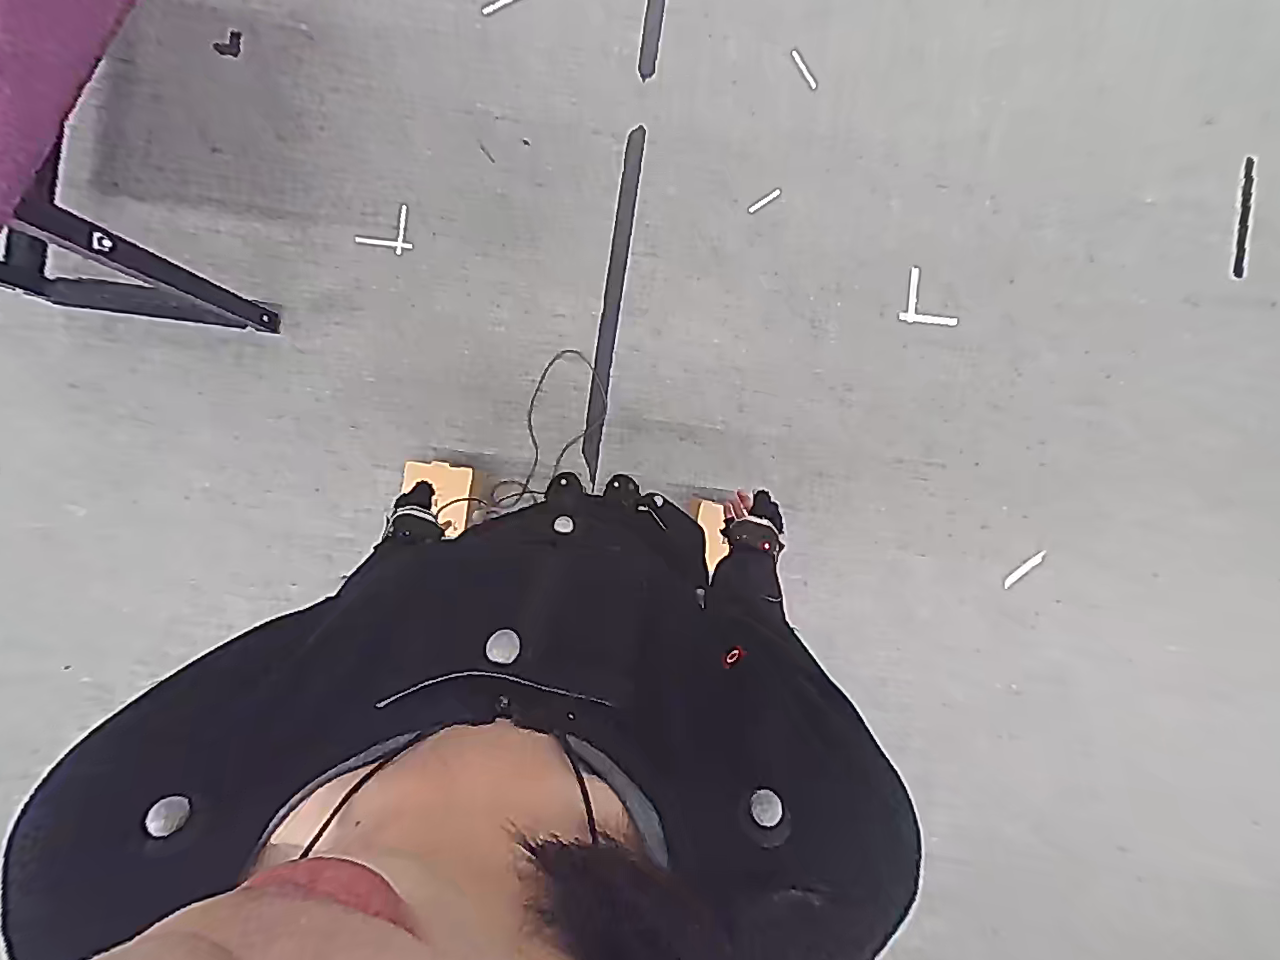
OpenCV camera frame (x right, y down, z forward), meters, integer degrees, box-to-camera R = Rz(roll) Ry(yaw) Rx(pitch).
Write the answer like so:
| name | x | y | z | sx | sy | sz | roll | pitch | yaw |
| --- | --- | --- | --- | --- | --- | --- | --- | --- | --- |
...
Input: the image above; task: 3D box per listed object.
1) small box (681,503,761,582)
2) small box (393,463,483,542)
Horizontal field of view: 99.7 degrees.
| name | x | y | z | sx | sy | sz | roll | pitch | yaw |
| --- | --- | --- | --- | --- | --- | --- | --- | --- | --- |
| small box | 0.211 | 0.162 | 1.451 | 0.168 | 0.176 | 0.179 | 10 | 90 | -2 |
| small box | -0.515 | 0.059 | 1.402 | 0.168 | 0.176 | 0.179 | 8 | 87 | -4 |
